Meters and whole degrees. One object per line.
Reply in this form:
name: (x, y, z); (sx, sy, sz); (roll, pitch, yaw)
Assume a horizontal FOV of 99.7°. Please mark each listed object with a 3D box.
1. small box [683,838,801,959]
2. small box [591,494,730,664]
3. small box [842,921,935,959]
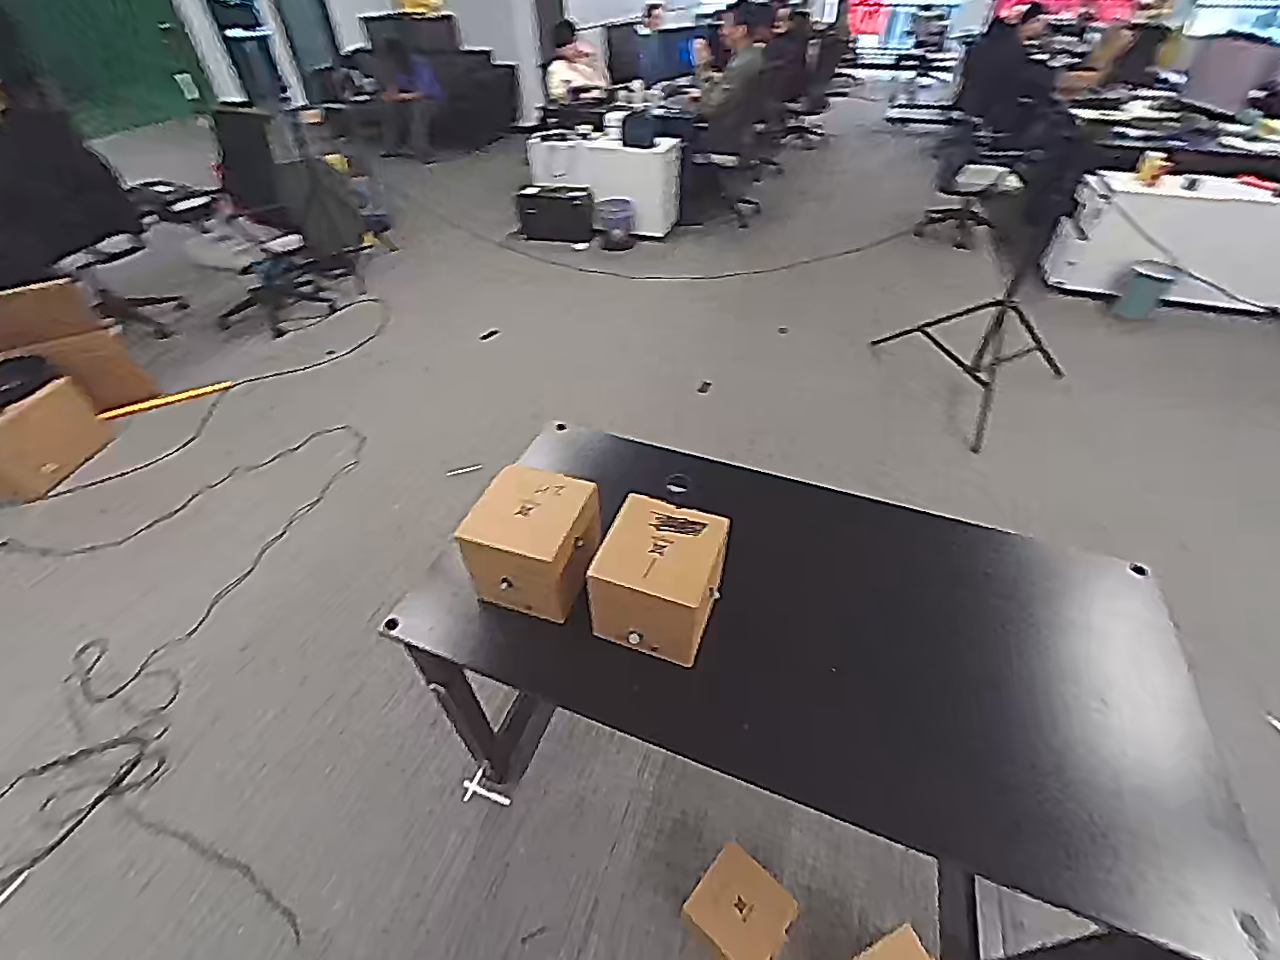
small box: (0.206, 0.903, 1.128); (0.179, 0.176, 0.168); (31, 52, 30)
small box: (0.034, 0.155, 0.857); (0.168, 0.176, 0.179); (14, 46, 16)
small box: (0.480, 0.988, 1.028); (0.179, 0.176, 0.168); (-19, 46, -17)
